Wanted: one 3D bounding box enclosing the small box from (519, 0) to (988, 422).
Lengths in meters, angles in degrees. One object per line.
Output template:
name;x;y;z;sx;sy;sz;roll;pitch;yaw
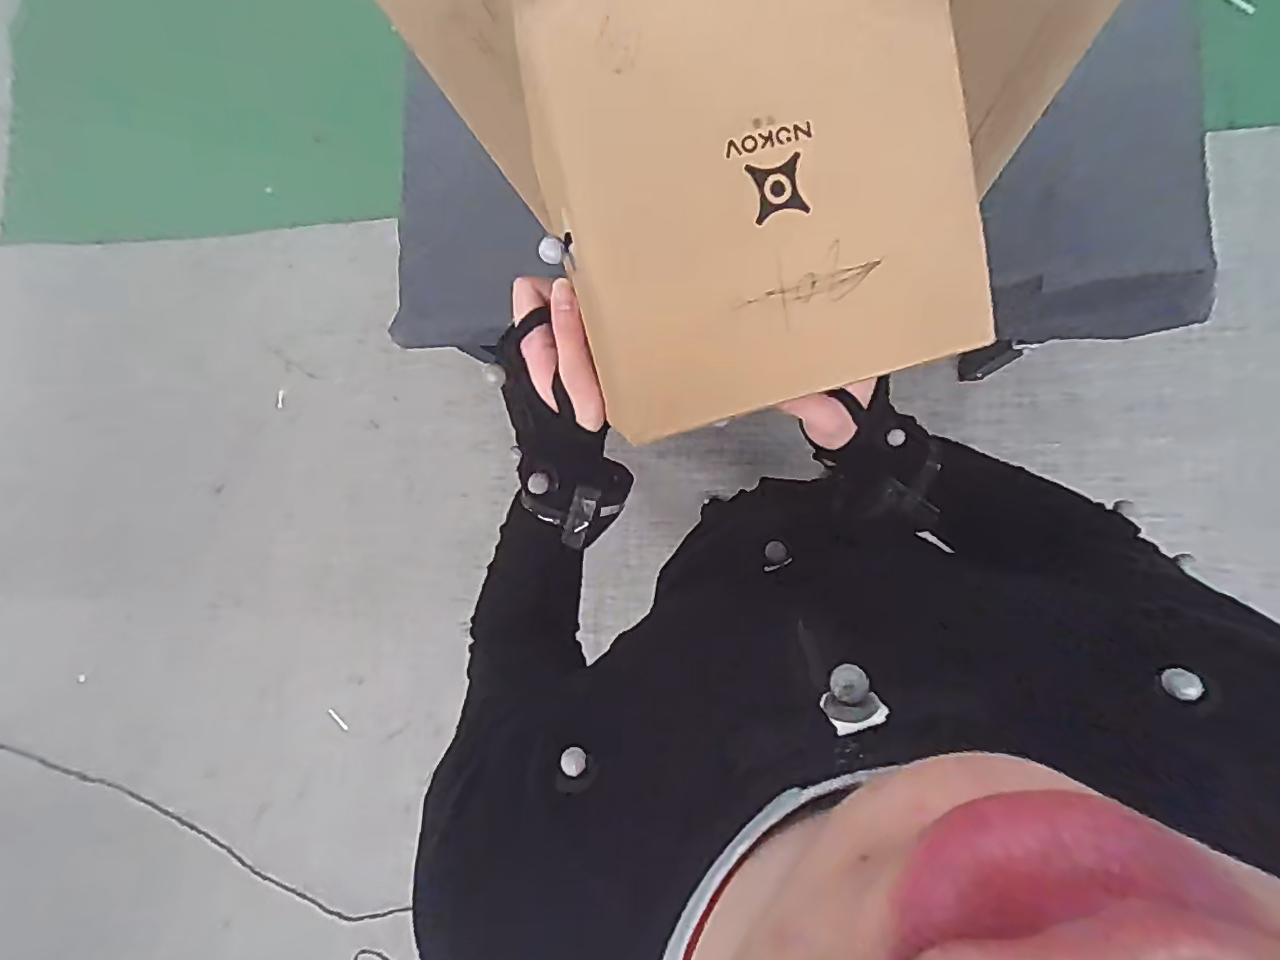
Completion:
small box;0.043;-0.140;0.293;0.168;0.176;0.179;-16;102;-2
